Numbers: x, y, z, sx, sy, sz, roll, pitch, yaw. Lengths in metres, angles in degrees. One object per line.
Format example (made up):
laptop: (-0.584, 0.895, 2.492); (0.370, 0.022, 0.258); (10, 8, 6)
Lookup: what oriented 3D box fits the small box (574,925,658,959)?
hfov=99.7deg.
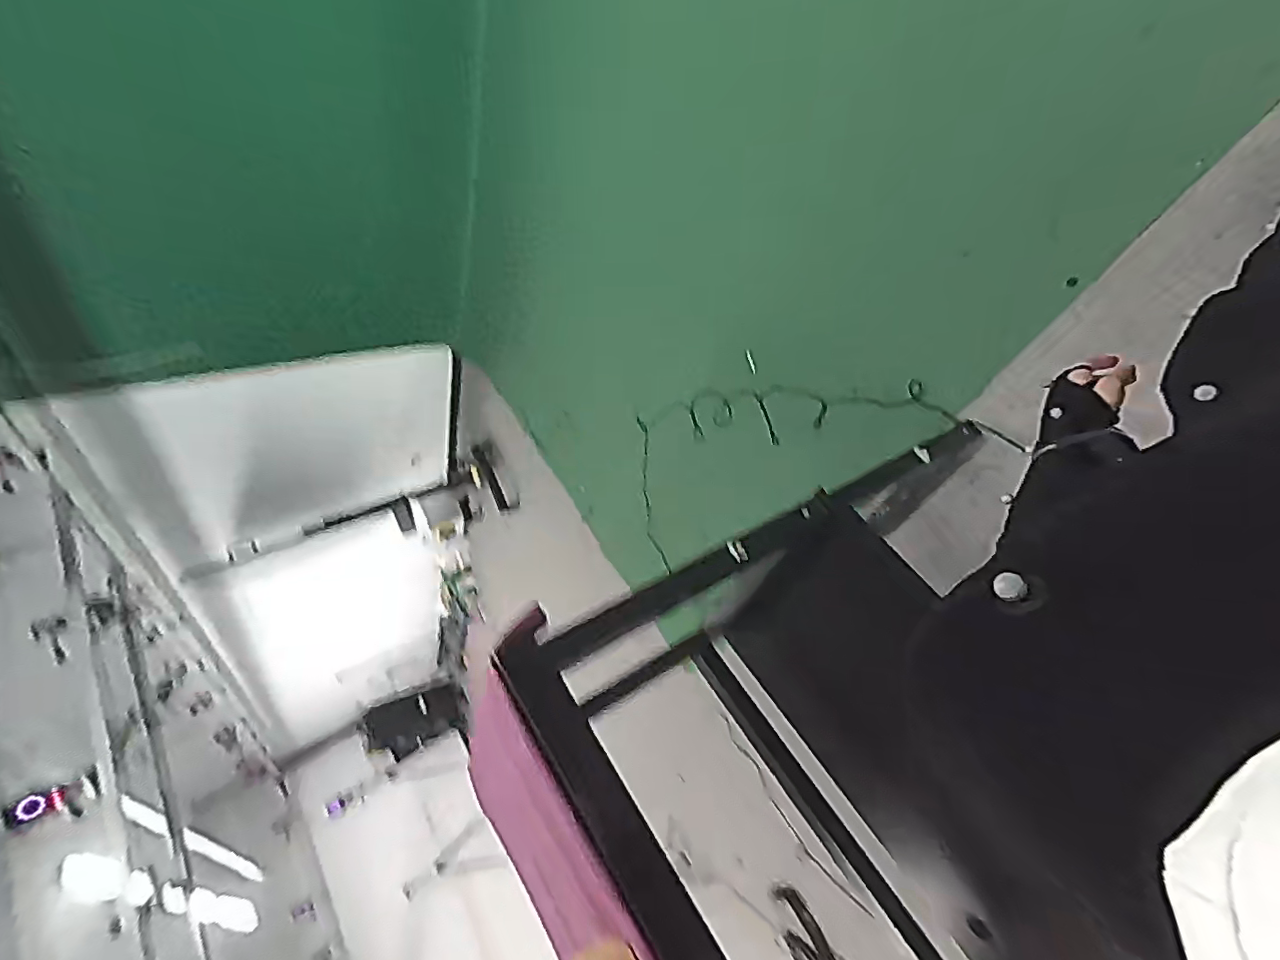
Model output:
small box: (-0.034, 0.666, 0.621); (0.179, 0.176, 0.168); (53, 143, 23)
